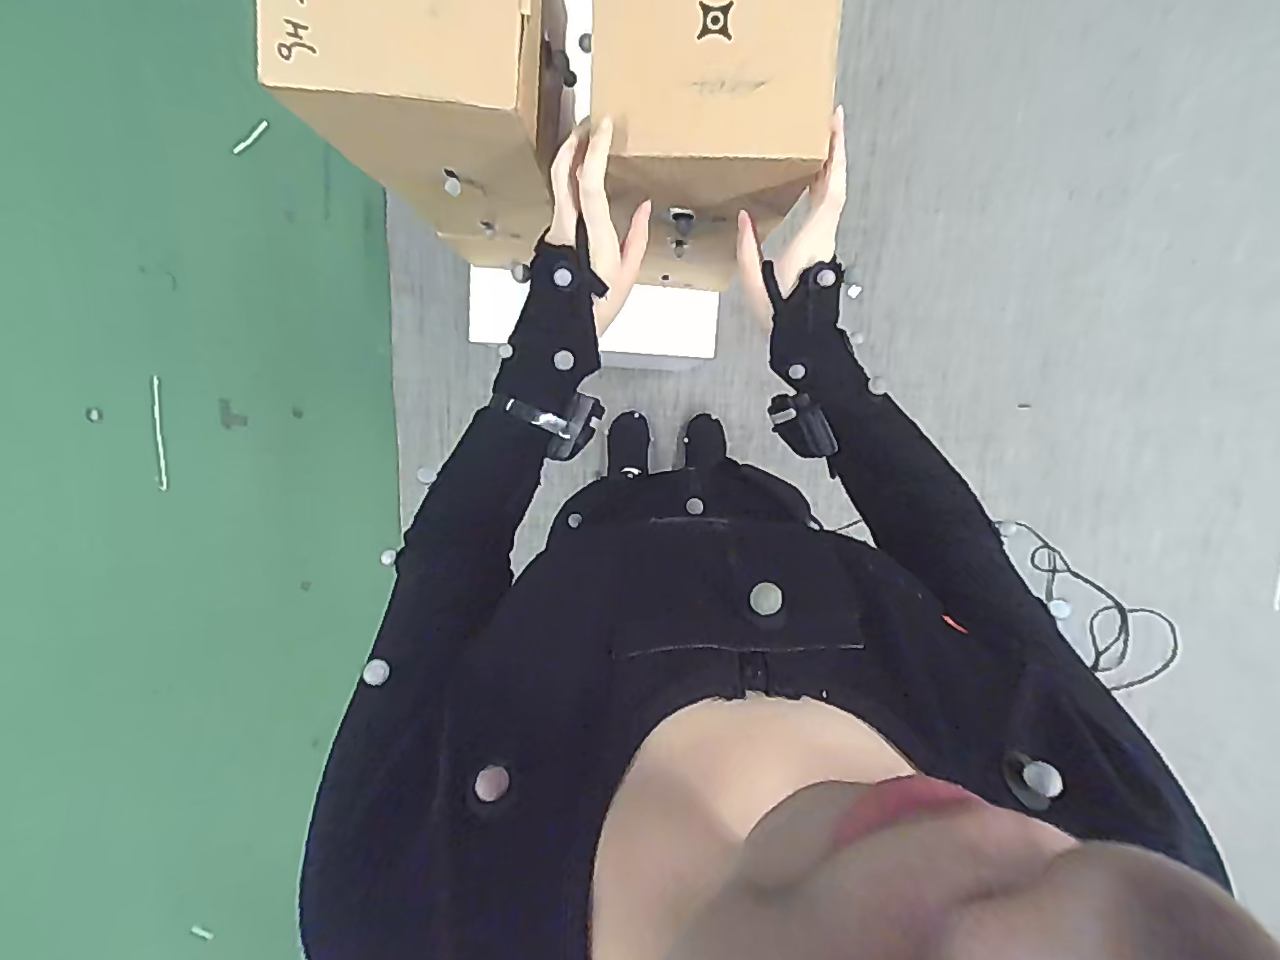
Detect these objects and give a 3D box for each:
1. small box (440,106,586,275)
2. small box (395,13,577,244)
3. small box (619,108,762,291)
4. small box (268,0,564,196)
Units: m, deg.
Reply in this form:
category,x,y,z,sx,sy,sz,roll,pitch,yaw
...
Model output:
category,x,y,z,sx,sy,sz,roll,pitch,yaw
small box,-0.168,-0.402,0.757,0.168,0.176,0.179,4,100,-1
small box,-0.163,-0.380,0.594,0.168,0.176,0.179,5,99,-1
small box,0.063,-0.379,0.759,0.168,0.176,0.179,6,99,1
small box,-0.158,-0.347,0.434,0.179,0.176,0.168,5,99,-2
